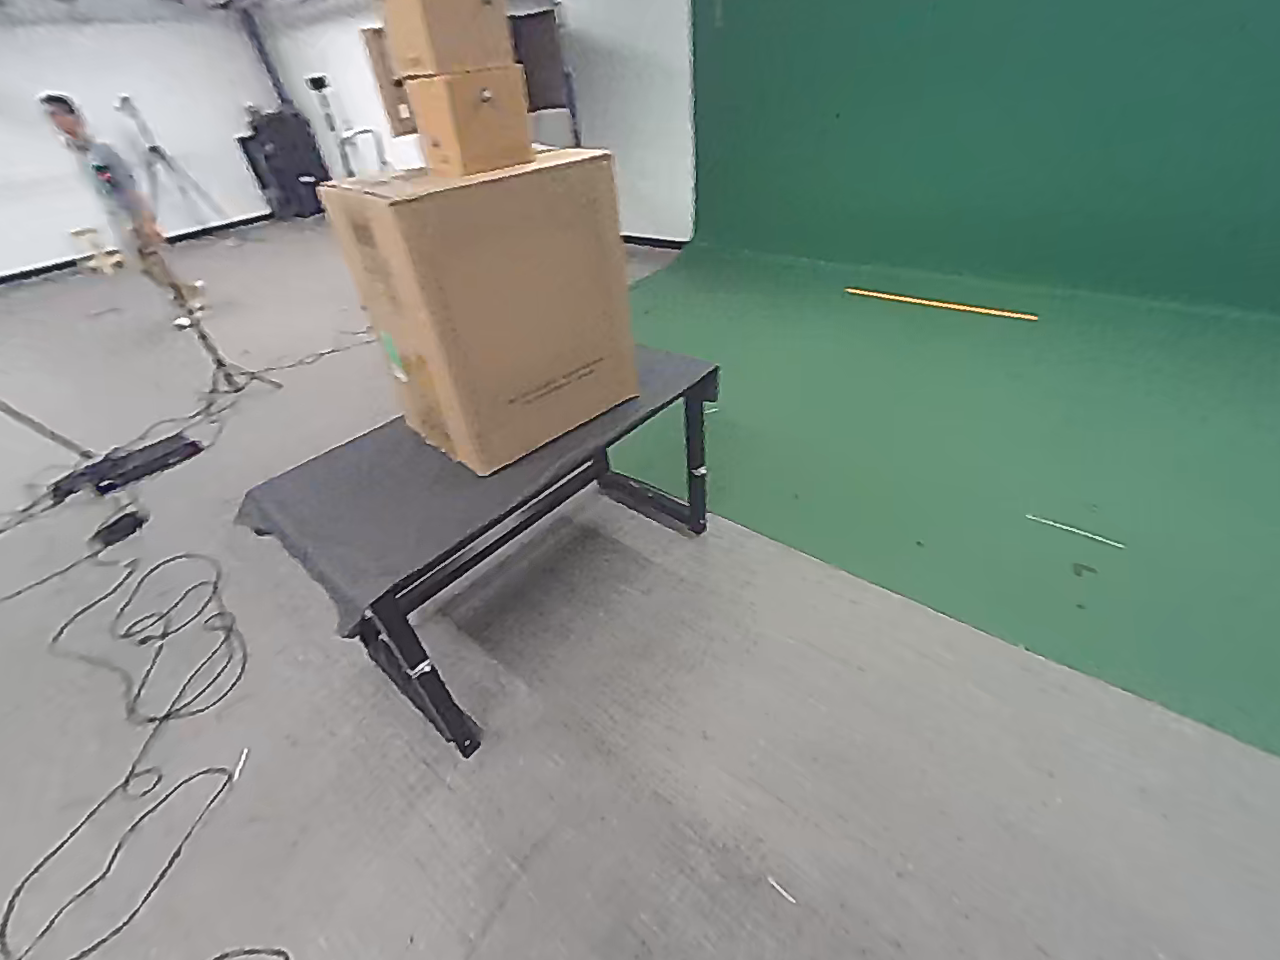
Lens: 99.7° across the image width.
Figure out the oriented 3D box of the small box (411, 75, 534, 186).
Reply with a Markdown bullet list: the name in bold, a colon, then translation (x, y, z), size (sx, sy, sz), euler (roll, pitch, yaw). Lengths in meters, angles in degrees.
- **small box**: translation (-0.336, -0.726, 1.118), size (0.179, 0.176, 0.168), euler (-32, 47, -30)
